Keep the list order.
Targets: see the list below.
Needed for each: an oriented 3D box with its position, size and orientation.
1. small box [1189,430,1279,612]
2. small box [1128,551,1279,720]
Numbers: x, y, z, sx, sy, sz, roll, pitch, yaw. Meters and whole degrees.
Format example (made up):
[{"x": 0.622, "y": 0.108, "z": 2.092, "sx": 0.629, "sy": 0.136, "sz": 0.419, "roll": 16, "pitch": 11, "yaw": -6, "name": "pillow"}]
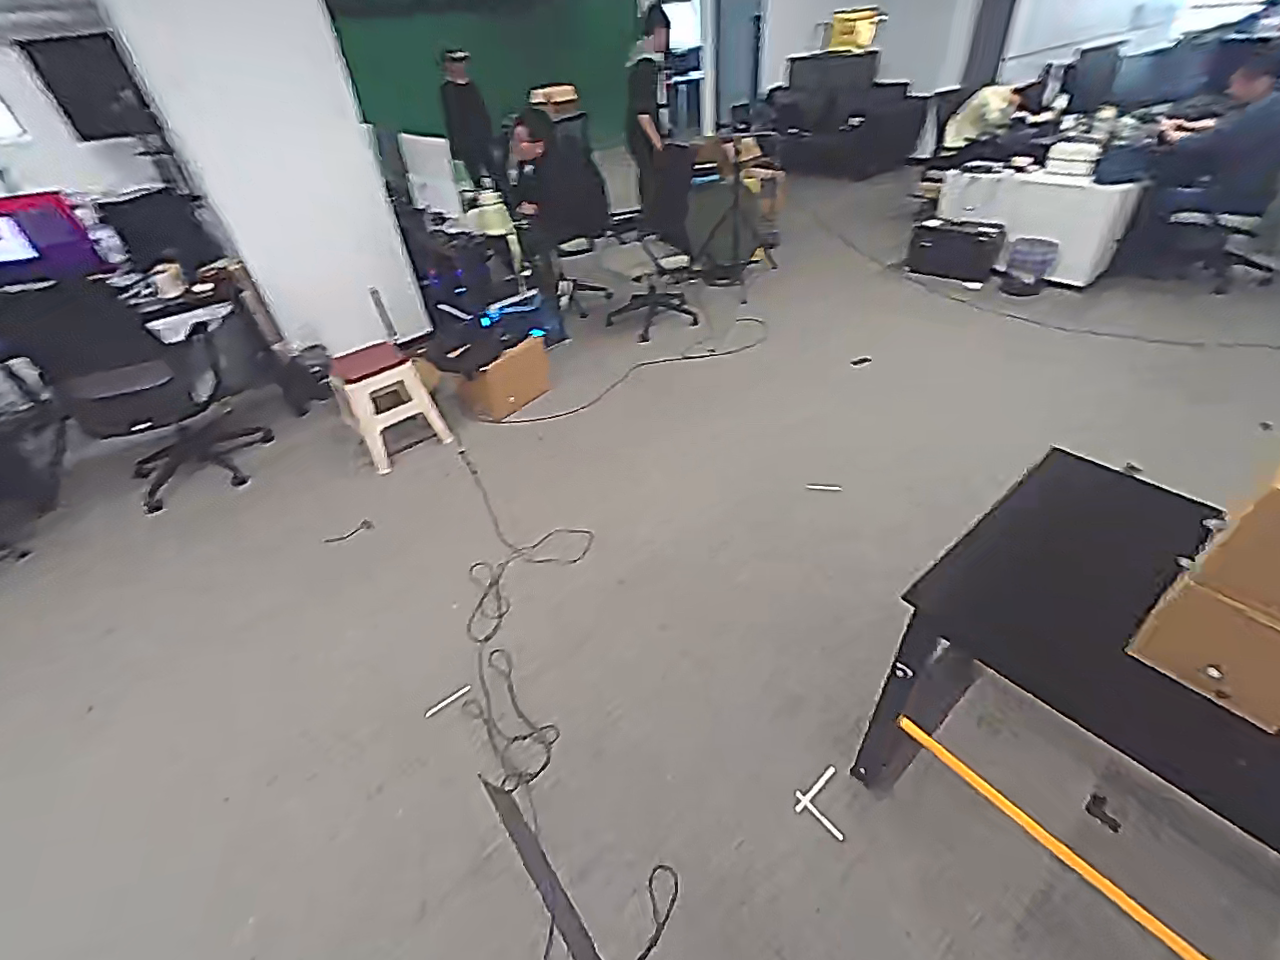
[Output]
[{"x": 0.839, "y": 0.062, "z": 0.667, "sx": 0.179, "sy": 0.176, "sz": 0.168, "roll": -32, "pitch": 46, "yaw": -27, "name": "small box"}, {"x": 0.848, "y": 0.193, "z": 0.765, "sx": 0.179, "sy": 0.176, "sz": 0.168, "roll": -30, "pitch": 44, "yaw": -25, "name": "small box"}]
